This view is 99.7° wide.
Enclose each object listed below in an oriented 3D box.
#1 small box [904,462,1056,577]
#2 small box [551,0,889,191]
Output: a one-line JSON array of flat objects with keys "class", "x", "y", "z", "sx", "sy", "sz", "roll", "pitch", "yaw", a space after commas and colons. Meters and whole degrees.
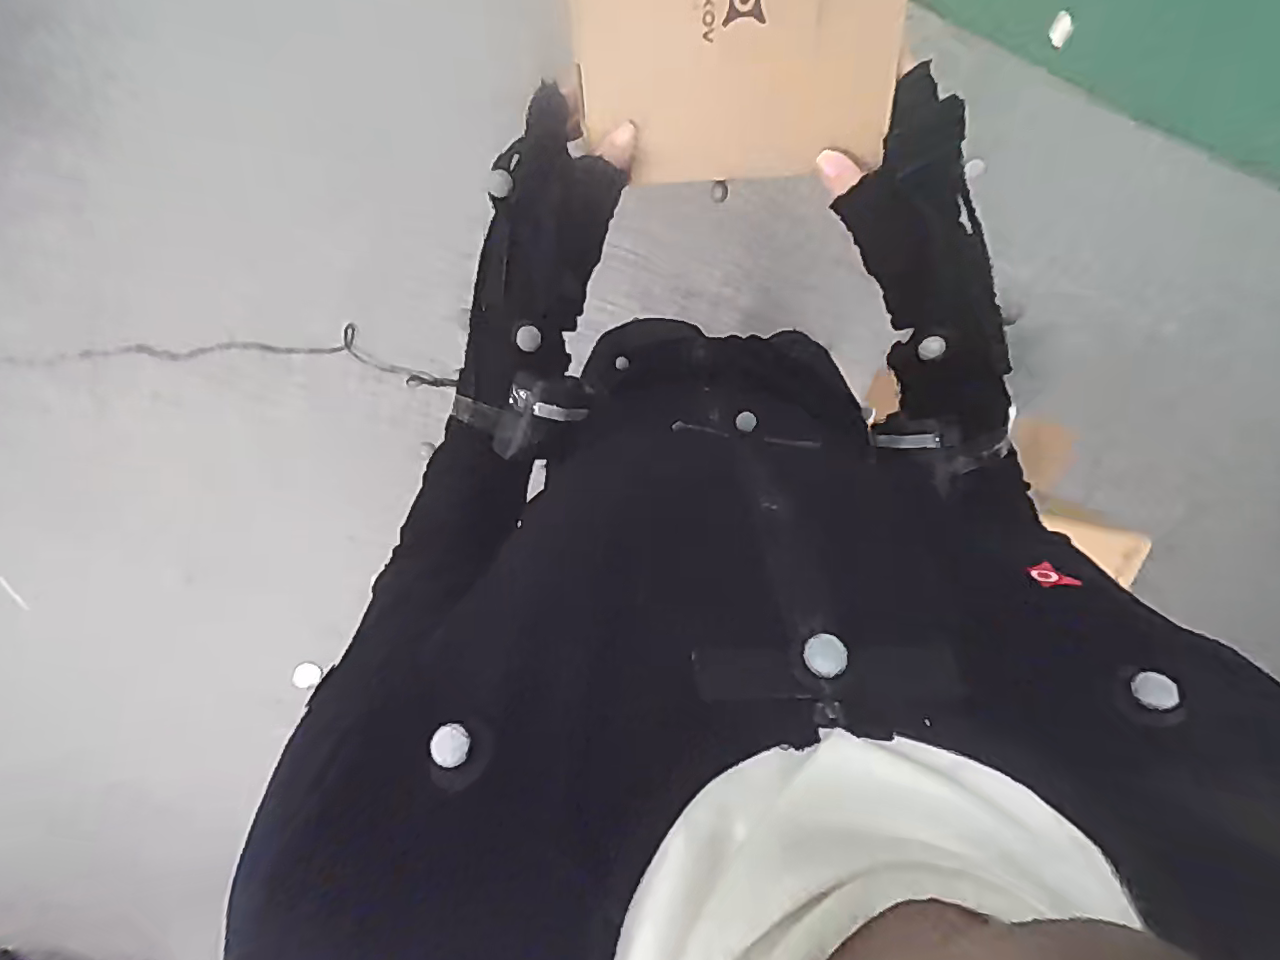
[{"class": "small box", "x": 0.635, "y": 0.082, "z": 1.036, "sx": 0.168, "sy": 0.176, "sz": 0.179, "roll": 11, "pitch": 109, "yaw": -1}, {"class": "small box", "x": 0.043, "y": -0.287, "z": 0.346, "sx": 0.179, "sy": 0.176, "sz": 0.168, "roll": -4, "pitch": 122, "yaw": 4}]
